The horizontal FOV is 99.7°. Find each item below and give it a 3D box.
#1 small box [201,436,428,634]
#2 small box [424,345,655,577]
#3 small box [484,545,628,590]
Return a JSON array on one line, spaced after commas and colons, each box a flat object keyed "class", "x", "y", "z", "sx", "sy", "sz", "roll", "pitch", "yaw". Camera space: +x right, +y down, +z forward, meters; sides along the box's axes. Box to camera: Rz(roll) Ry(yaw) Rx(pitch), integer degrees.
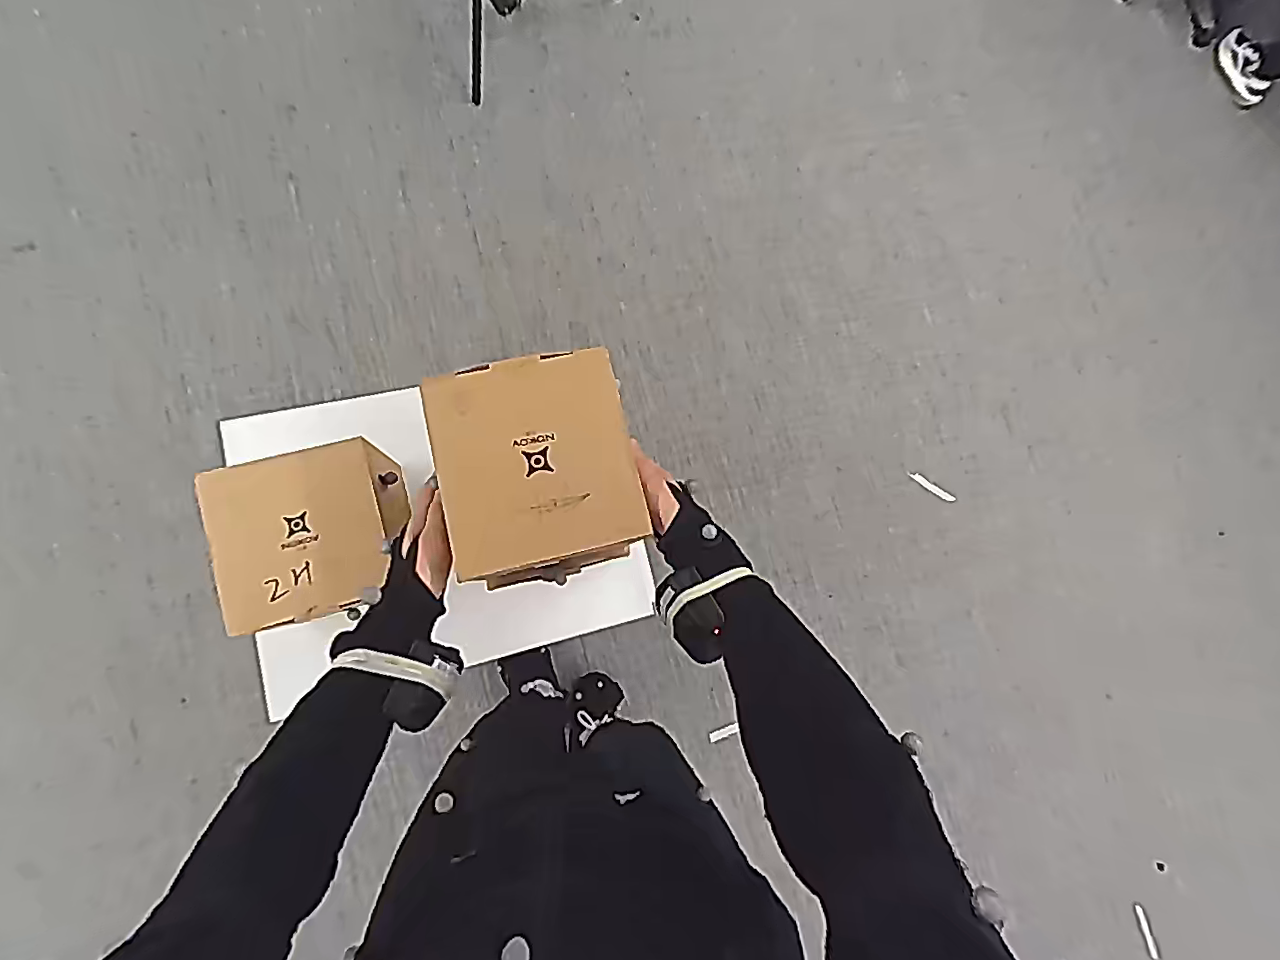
[{"class": "small box", "x": -0.367, "y": 0.066, "z": 0.641, "sx": 0.168, "sy": 0.176, "sz": 0.179, "roll": -15, "pitch": 84, "yaw": -12}, {"class": "small box", "x": -0.096, "y": -0.007, "z": 0.534, "sx": 0.168, "sy": 0.176, "sz": 0.179, "roll": -14, "pitch": 83, "yaw": -10}, {"class": "small box", "x": -0.122, "y": 0.031, "z": 0.691, "sx": 0.168, "sy": 0.176, "sz": 0.179, "roll": -12, "pitch": 84, "yaw": -12}]
